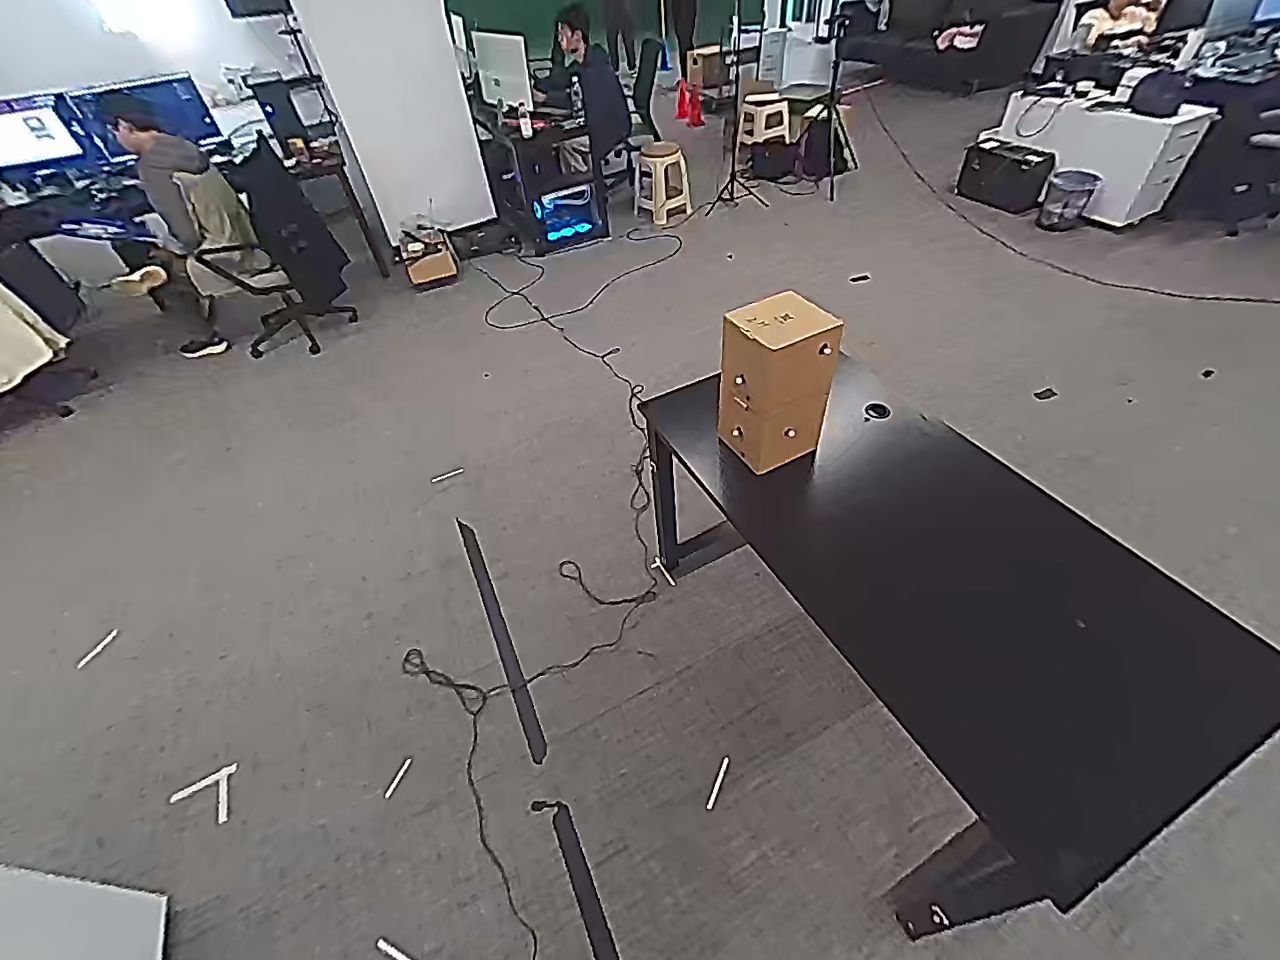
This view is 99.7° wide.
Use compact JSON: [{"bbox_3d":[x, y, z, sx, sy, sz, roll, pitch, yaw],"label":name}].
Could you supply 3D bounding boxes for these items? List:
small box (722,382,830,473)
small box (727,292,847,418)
[{"bbox_3d":[0.305,-0.145,1.243,0.179,0.176,0.168,-25,49,-16],"label":"small box"},{"bbox_3d":[0.294,-0.260,1.125,0.179,0.176,0.168,-24,48,-16],"label":"small box"}]
